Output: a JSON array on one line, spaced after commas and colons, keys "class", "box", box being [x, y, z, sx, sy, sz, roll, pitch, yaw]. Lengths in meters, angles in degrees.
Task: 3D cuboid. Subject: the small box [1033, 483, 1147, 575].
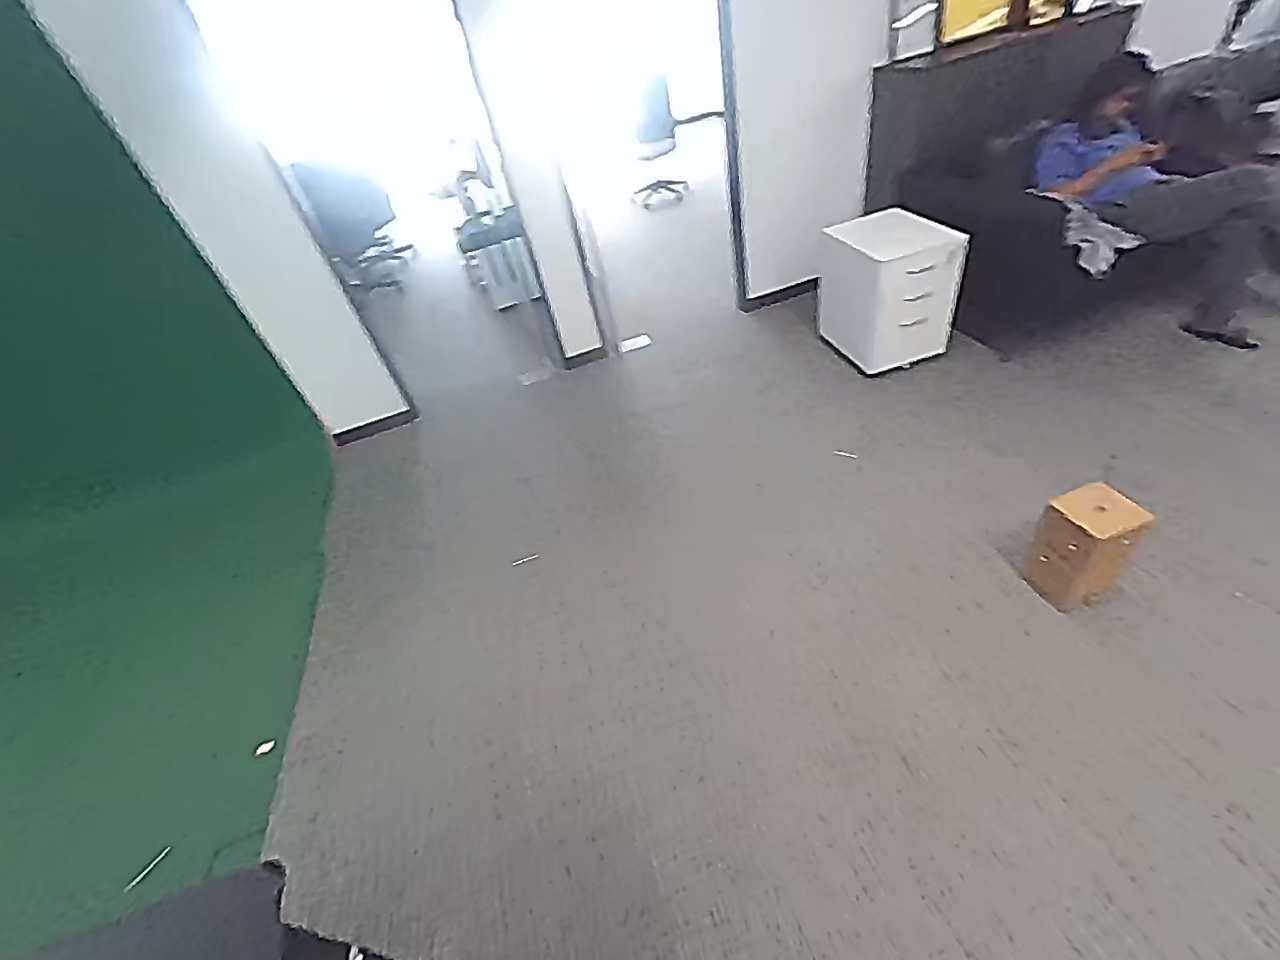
[{"class": "small box", "box": [1.269, 0.144, 1.544, 0.179, 0.176, 0.168, -19, 40, -7]}]

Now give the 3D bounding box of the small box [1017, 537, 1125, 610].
[{"class": "small box", "box": [1.299, 0.265, 1.646, 0.179, 0.176, 0.168, -18, 39, -5]}]
